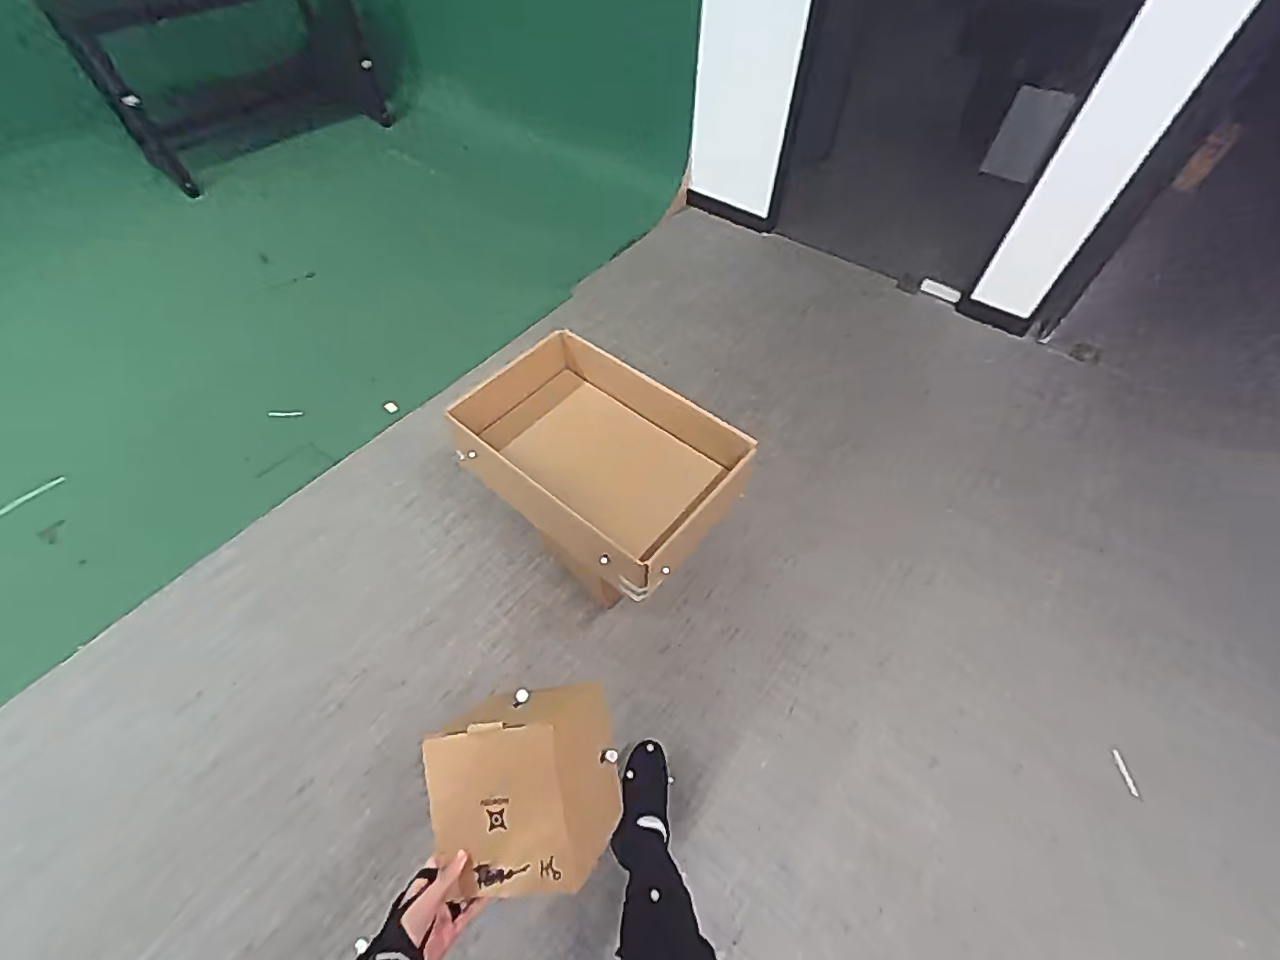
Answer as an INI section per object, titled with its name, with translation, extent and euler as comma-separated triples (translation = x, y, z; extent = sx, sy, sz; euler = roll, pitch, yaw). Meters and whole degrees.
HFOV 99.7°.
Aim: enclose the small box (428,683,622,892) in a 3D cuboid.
[small box]
translation = -0.132, 0.359, 0.664
extent = 0.168, 0.176, 0.179
euler = -12, 82, 14
